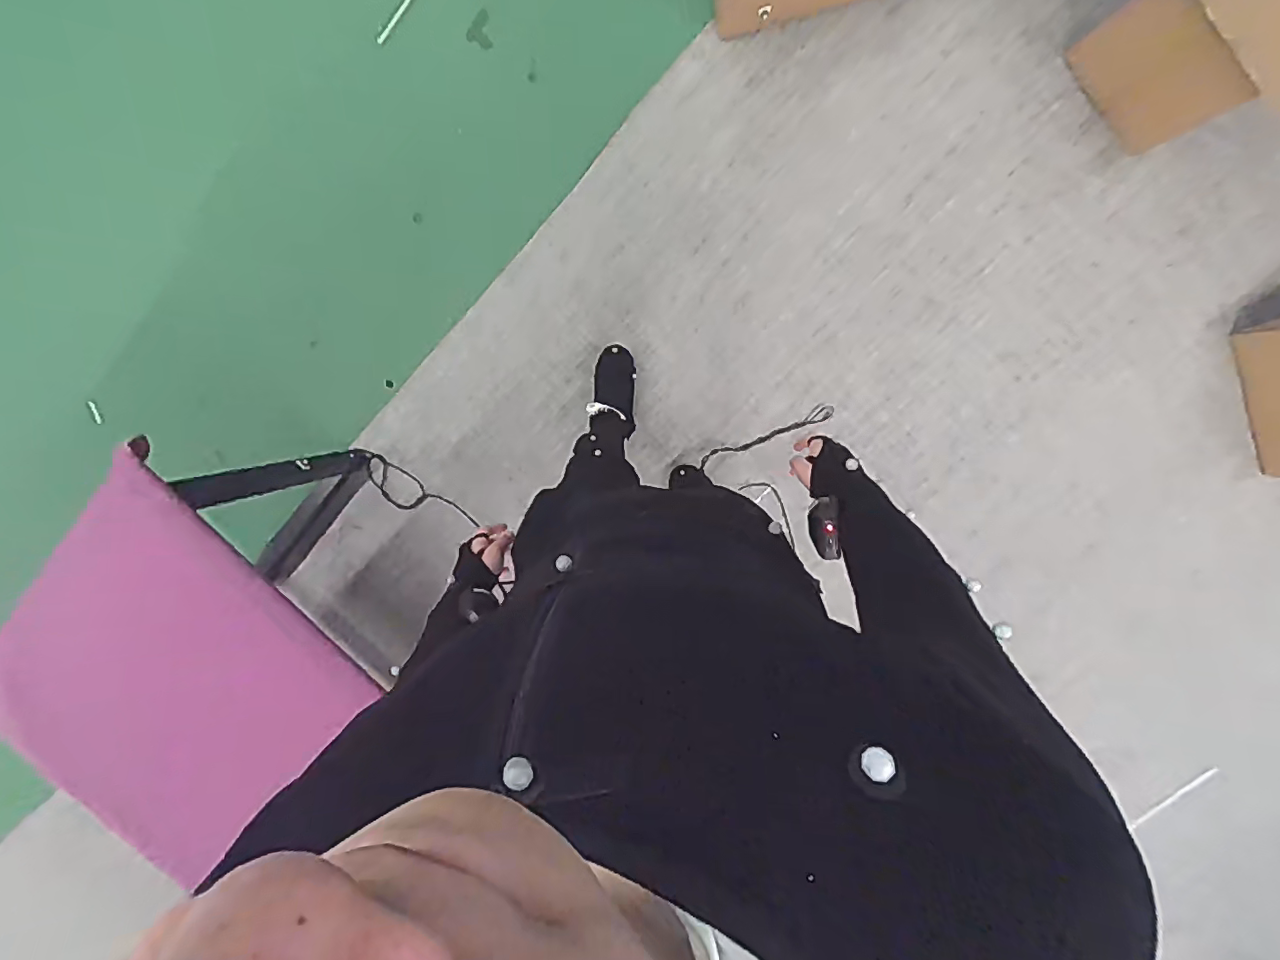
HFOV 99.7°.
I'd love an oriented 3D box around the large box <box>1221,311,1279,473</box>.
[{"bbox_3d":[1.725,-0.236,1.277,0.320,0.320,0.408,-21,96,8],"label":"large box"}]
